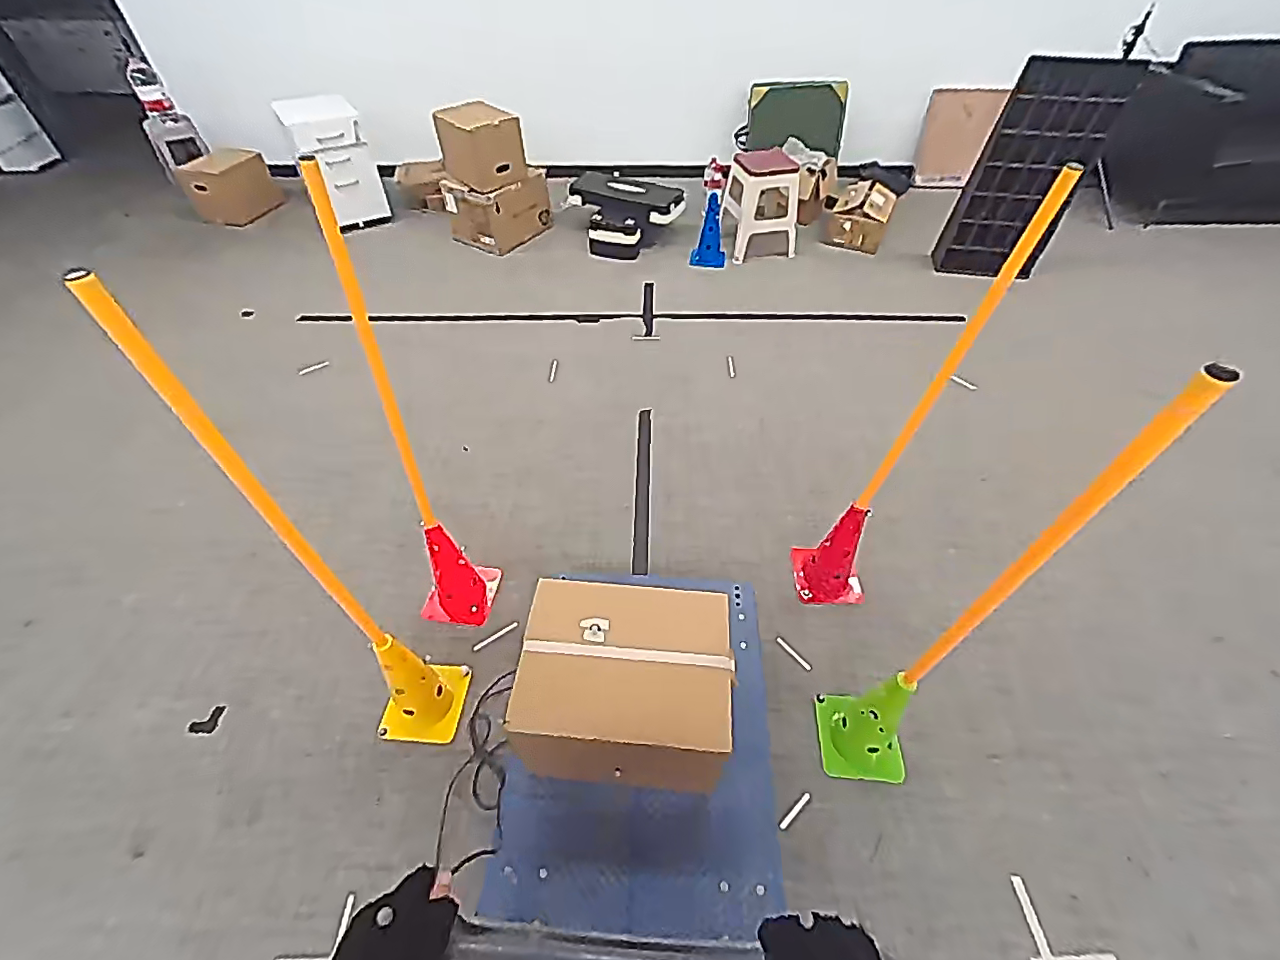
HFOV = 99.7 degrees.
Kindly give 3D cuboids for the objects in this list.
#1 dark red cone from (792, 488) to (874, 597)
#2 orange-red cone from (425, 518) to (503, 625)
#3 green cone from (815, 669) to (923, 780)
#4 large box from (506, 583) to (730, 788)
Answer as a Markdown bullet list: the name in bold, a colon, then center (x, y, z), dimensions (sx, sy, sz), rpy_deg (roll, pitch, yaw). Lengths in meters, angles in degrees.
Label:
- **dark red cone**: center (0.593, 0.168, 1.575), dimensions (0.201, 0.394, 0.202), rpy_deg (2, 48, -1)
- **orange-red cone**: center (-0.539, 0.232, 1.547), dimensions (0.198, 0.360, 0.199), rpy_deg (7, 47, 5)
- **green cone**: center (0.563, 0.538, 1.262), dimensions (0.202, 0.368, 0.200), rpy_deg (4, 48, 3)
- **large box**: center (-0.027, 0.443, 1.157), dimensions (0.408, 0.320, 0.320), rpy_deg (4, 48, 4)
